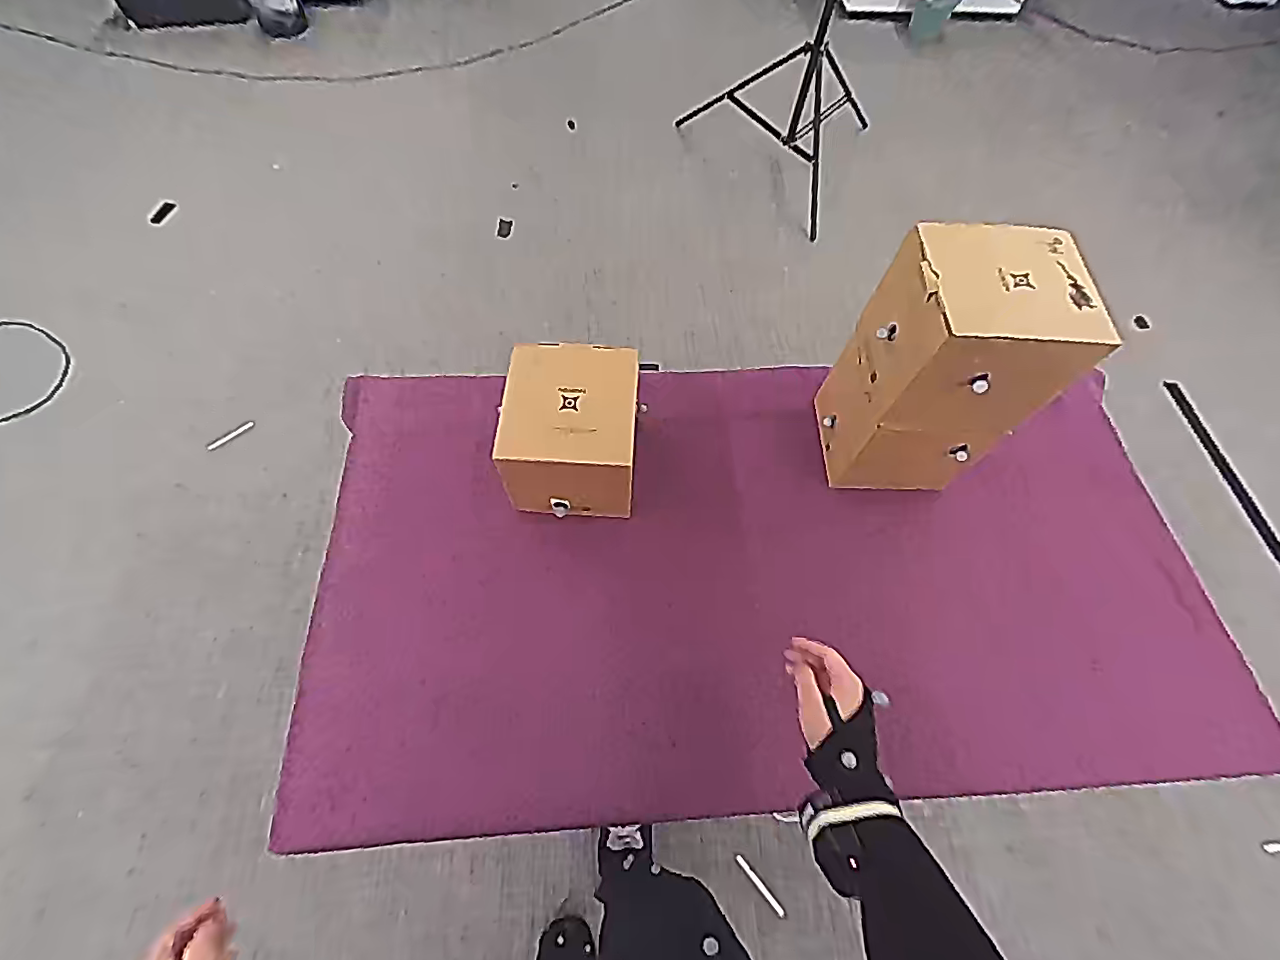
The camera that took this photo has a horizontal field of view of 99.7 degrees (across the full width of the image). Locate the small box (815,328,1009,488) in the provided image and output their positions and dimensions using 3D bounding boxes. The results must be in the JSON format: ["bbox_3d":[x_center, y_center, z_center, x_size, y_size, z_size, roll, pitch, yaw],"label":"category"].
[{"bbox_3d":[0.373,-0.096,0.778,0.179,0.176,0.168,1,63,-2],"label":"small box"}]

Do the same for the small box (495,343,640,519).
[{"bbox_3d":[-0.088,-0.061,0.737,0.168,0.176,0.179,2,65,-1],"label":"small box"}]

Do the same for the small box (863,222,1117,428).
[{"bbox_3d":[0.379,-0.172,0.632,0.179,0.176,0.168,2,64,-1],"label":"small box"}]
